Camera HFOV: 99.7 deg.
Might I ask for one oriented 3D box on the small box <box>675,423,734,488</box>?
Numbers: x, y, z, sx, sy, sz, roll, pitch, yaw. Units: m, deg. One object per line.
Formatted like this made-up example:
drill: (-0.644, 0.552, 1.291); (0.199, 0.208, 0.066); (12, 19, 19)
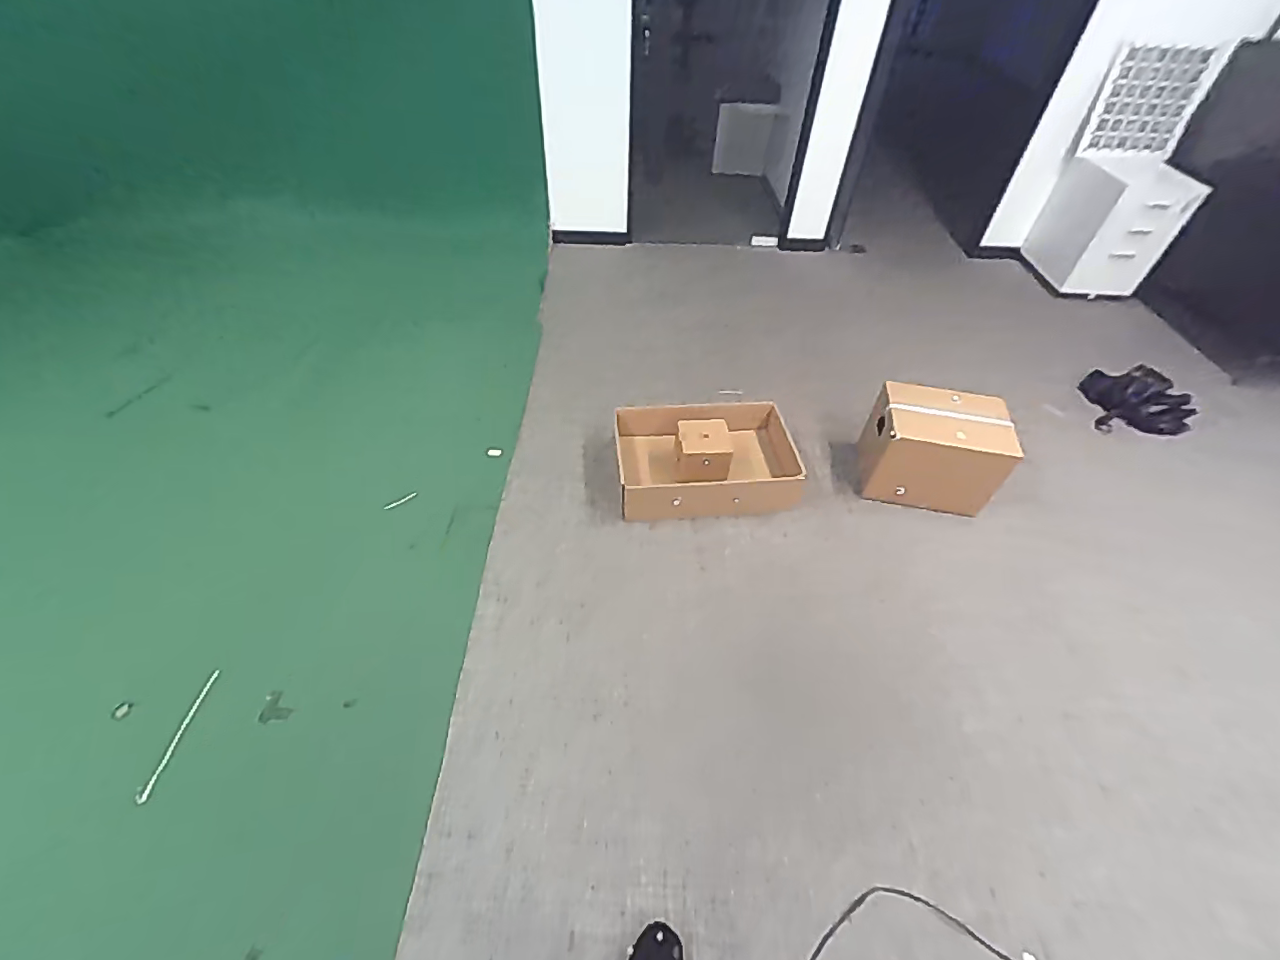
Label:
small box: (0.220, -0.085, 1.924); (0.179, 0.176, 0.168); (-1, 48, -6)
